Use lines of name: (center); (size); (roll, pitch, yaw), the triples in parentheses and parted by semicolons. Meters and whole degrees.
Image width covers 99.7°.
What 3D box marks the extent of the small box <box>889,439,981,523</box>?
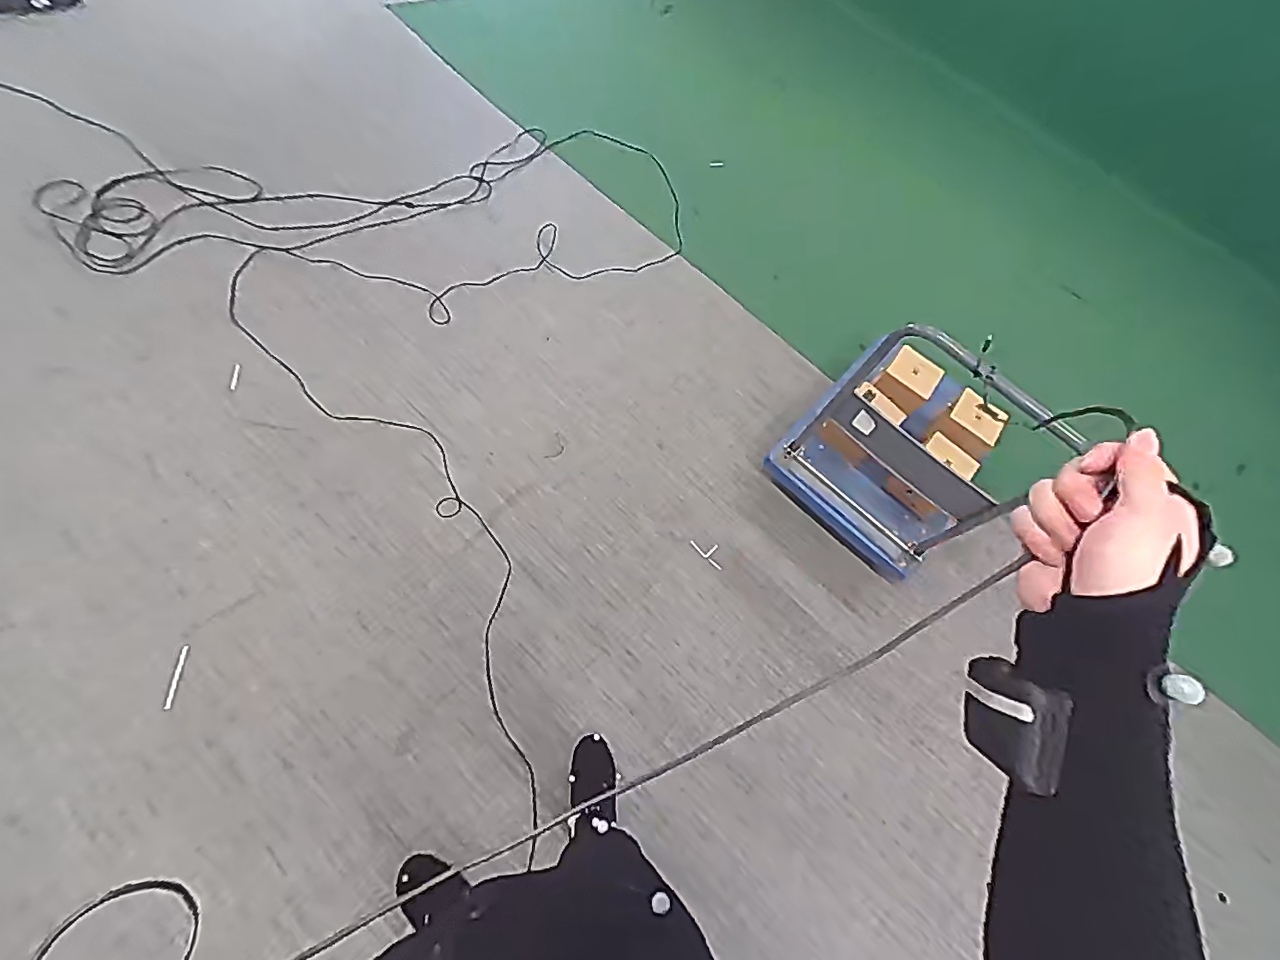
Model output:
small box: (0.937, 0.006, 1.731); (0.168, 0.176, 0.179); (43, 62, 11)

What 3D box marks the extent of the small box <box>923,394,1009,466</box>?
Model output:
small box: (1.114, -0.153, 1.858); (0.168, 0.176, 0.179); (38, 61, 10)

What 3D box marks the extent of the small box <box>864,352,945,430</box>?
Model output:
small box: (0.919, -0.307, 1.898); (0.168, 0.176, 0.179); (39, 61, 9)
